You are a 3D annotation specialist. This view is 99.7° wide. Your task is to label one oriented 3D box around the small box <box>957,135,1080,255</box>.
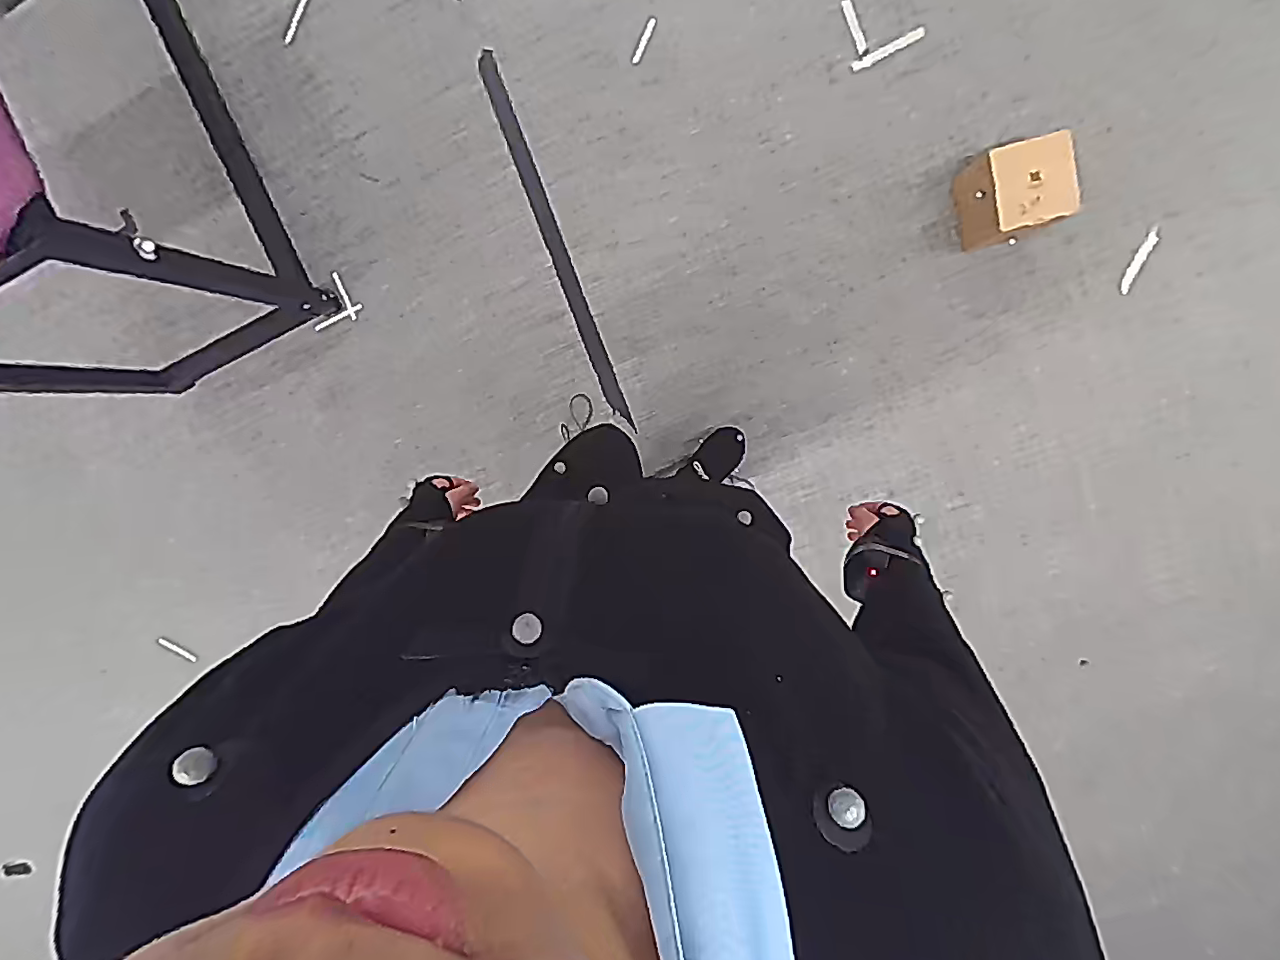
[{"bbox_3d":[0.857,-0.643,1.239,0.168,0.176,0.179,-12,97,8],"label":"small box"}]
